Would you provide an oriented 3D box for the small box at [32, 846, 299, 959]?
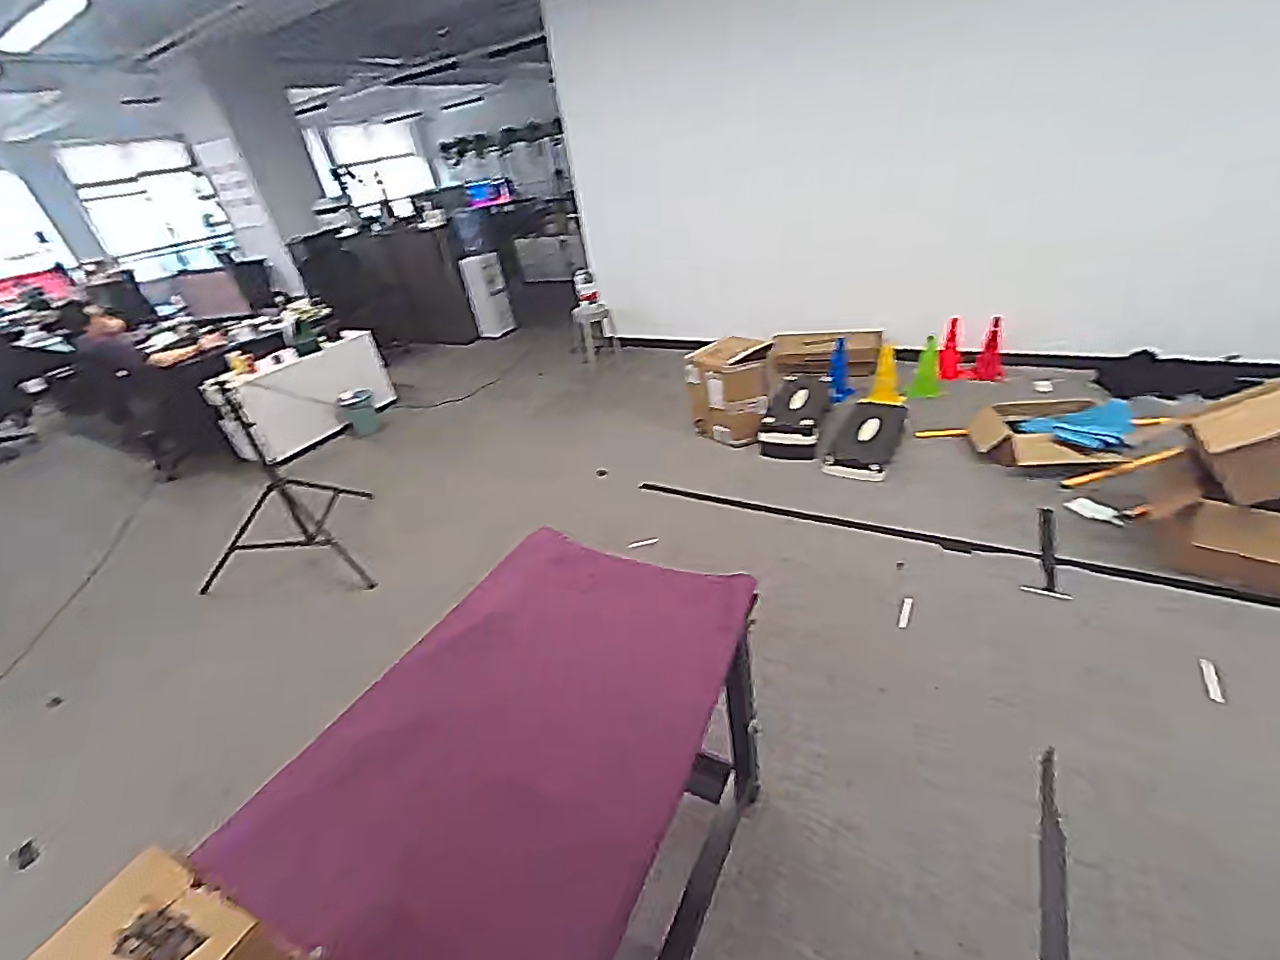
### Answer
[{"bbox_3d":[-0.407,0.466,0.453,0.168,0.176,0.179,7,36,26],"label":"small box"}]
